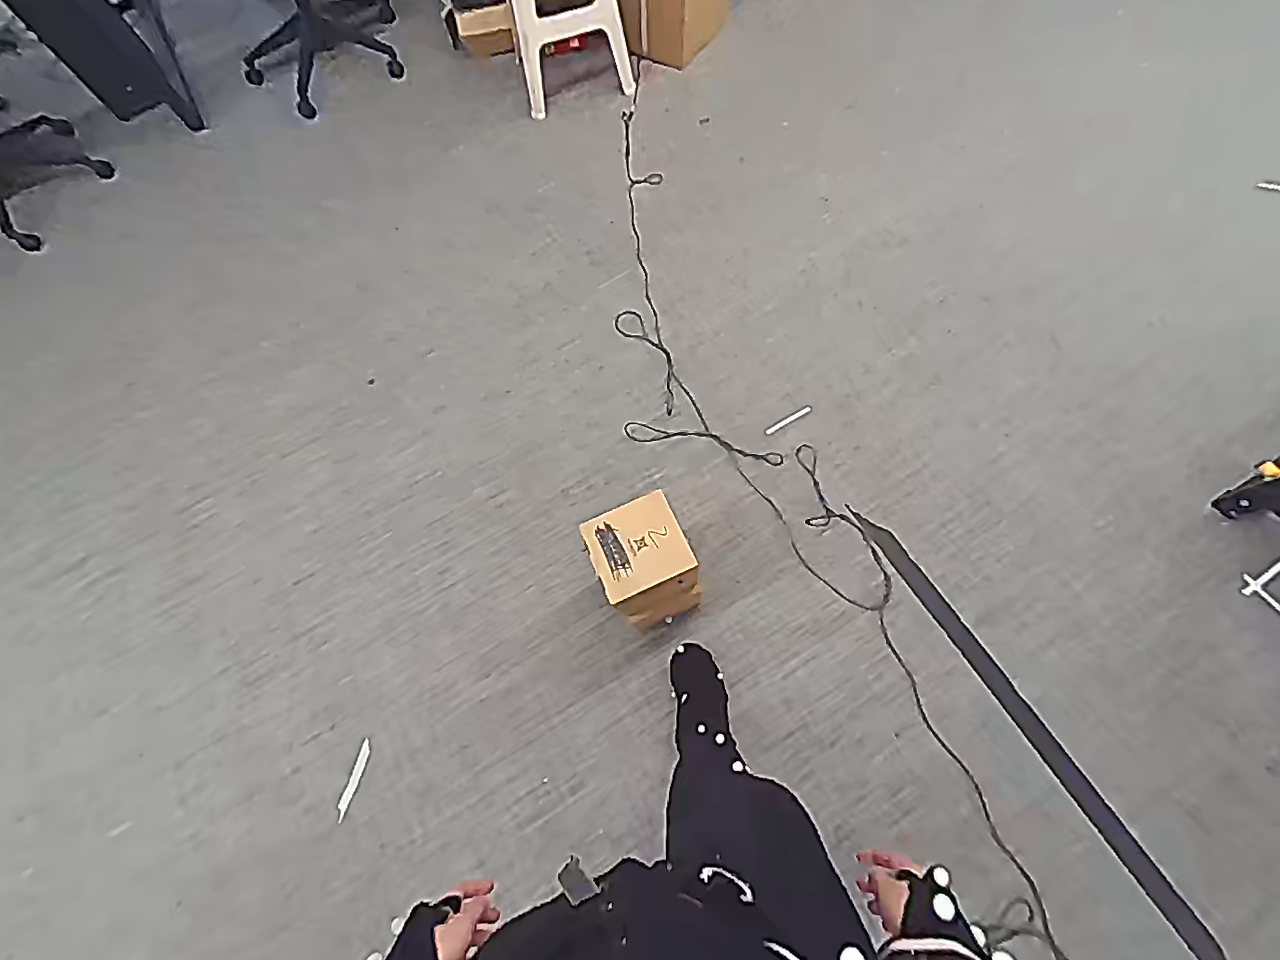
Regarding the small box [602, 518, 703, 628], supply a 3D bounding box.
[{"bbox_3d":[0.030,0.214,1.214,0.168,0.176,0.179,-24,69,-3],"label":"small box"}]
